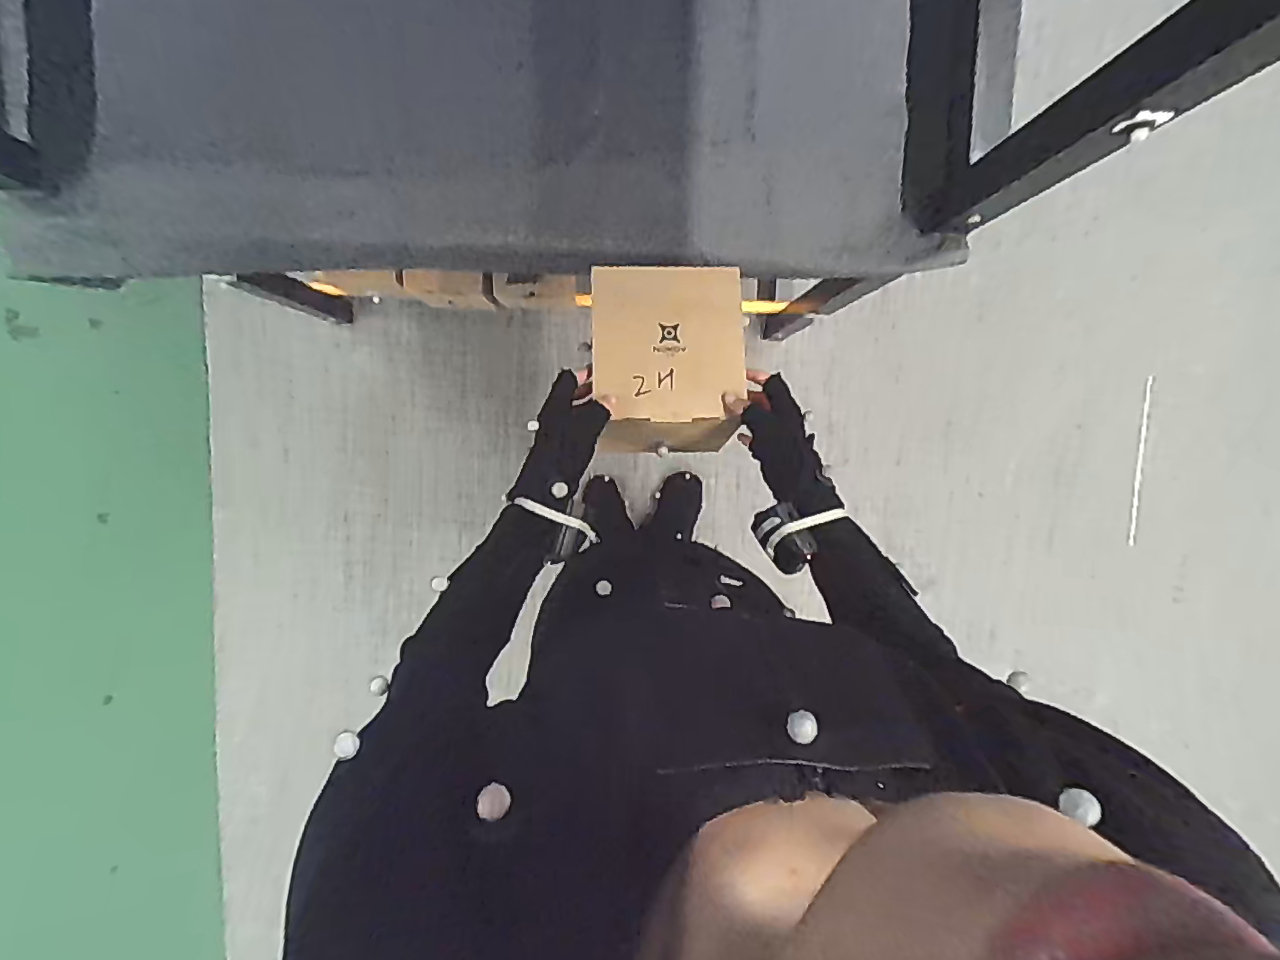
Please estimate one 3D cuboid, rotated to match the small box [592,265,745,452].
[{"bbox_3d":[0.026,-0.139,0.666,0.168,0.176,0.179,0,81,-3],"label":"small box"}]
